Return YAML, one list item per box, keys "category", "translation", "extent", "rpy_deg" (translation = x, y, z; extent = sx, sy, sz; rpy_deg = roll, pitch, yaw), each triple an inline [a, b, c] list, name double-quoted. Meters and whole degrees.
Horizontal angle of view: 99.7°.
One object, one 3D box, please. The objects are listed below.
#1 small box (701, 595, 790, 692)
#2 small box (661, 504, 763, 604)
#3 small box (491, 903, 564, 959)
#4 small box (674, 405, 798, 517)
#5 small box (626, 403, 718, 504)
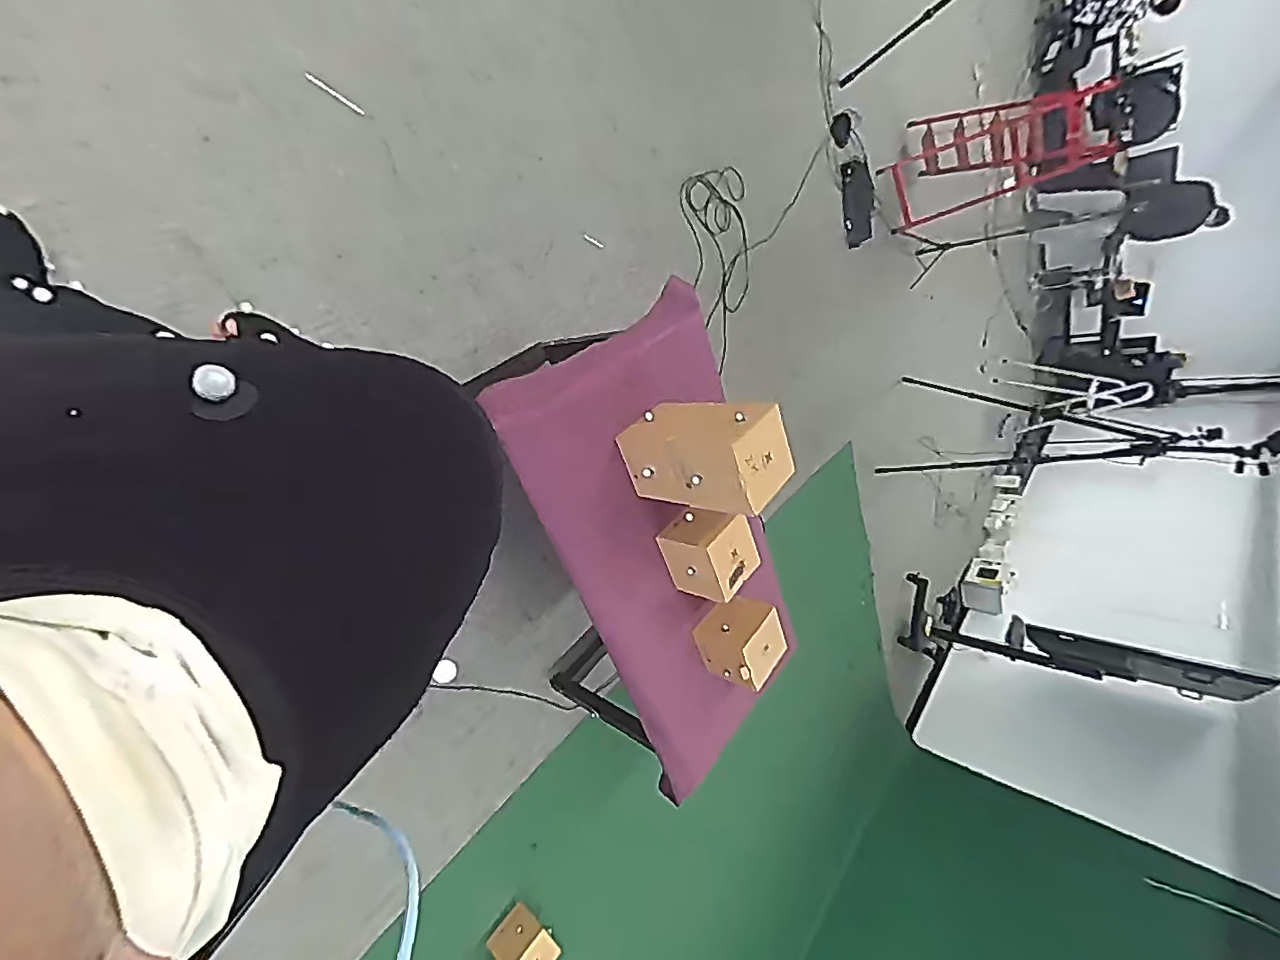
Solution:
- category: "small box"
  translation: [0.288, 0.449, 1.513]
  extent: [0.179, 0.176, 0.168]
  rpy_deg: [-40, 121, -34]
- category: "small box"
  translation: [0.182, 0.180, 1.375]
  extent: [0.168, 0.176, 0.179]
  rpy_deg: [-40, 120, -33]
- category: "small box"
  translation: [-0.419, 1.724, 2.002]
  extent: [0.168, 0.176, 0.179]
  rpy_deg: [-40, 122, -34]
- category: "small box"
  translation: [0.201, -0.048, 1.133]
  extent: [0.179, 0.176, 0.168]
  rpy_deg: [-40, 120, -33]
- category: "small box"
  translation: [0.087, -0.066, 1.251]
  extent: [0.179, 0.176, 0.168]
  rpy_deg: [-40, 122, -33]
